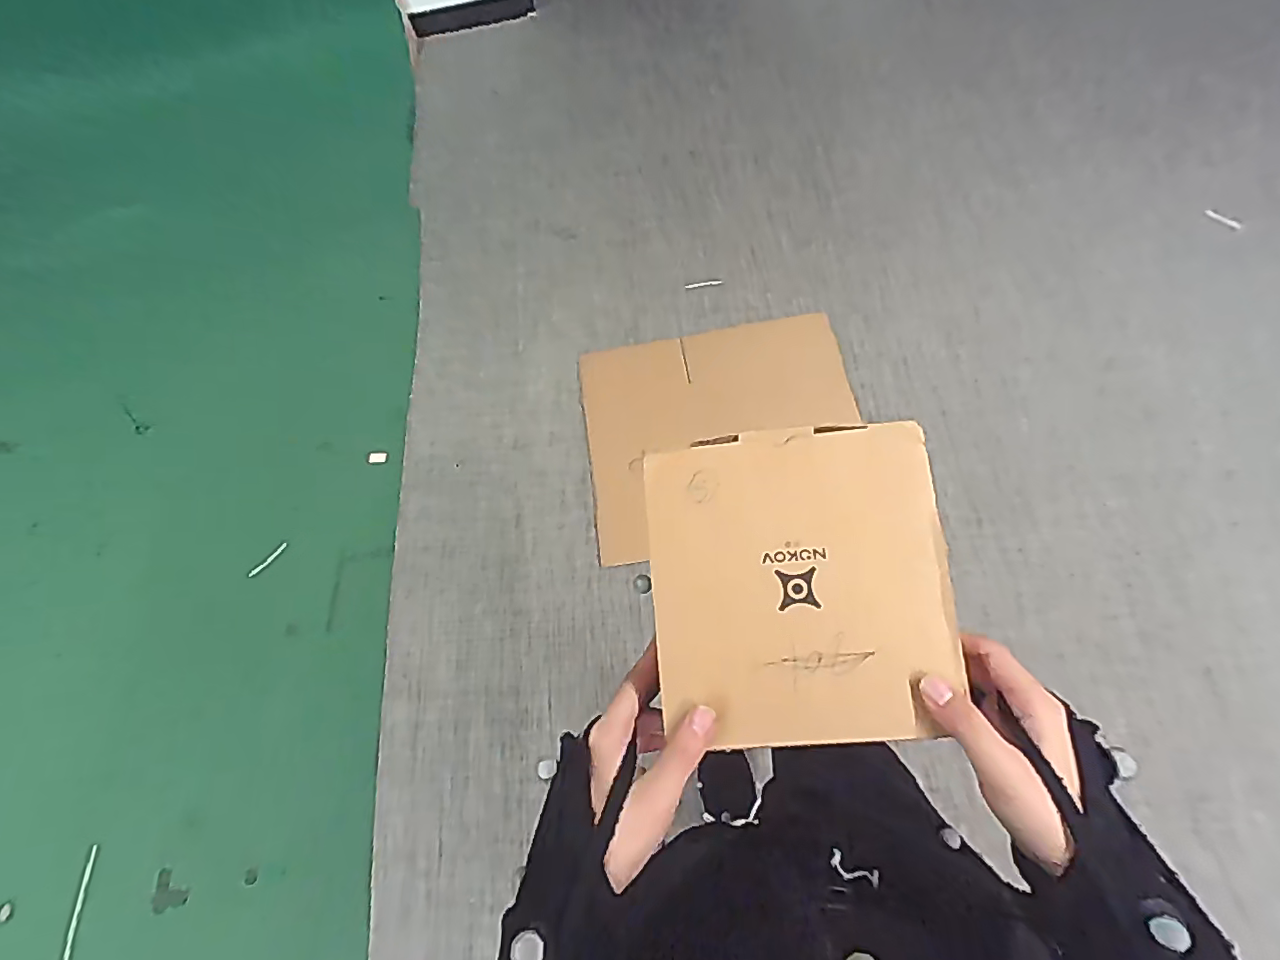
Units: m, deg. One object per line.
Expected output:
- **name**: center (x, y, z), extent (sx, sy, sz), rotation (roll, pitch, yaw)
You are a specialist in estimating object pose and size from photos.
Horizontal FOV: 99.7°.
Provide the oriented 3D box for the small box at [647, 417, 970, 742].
- **small box**: center (0.097, 0.067, 0.385), extent (0.168, 0.176, 0.179), rotation (-5, 81, 6)
